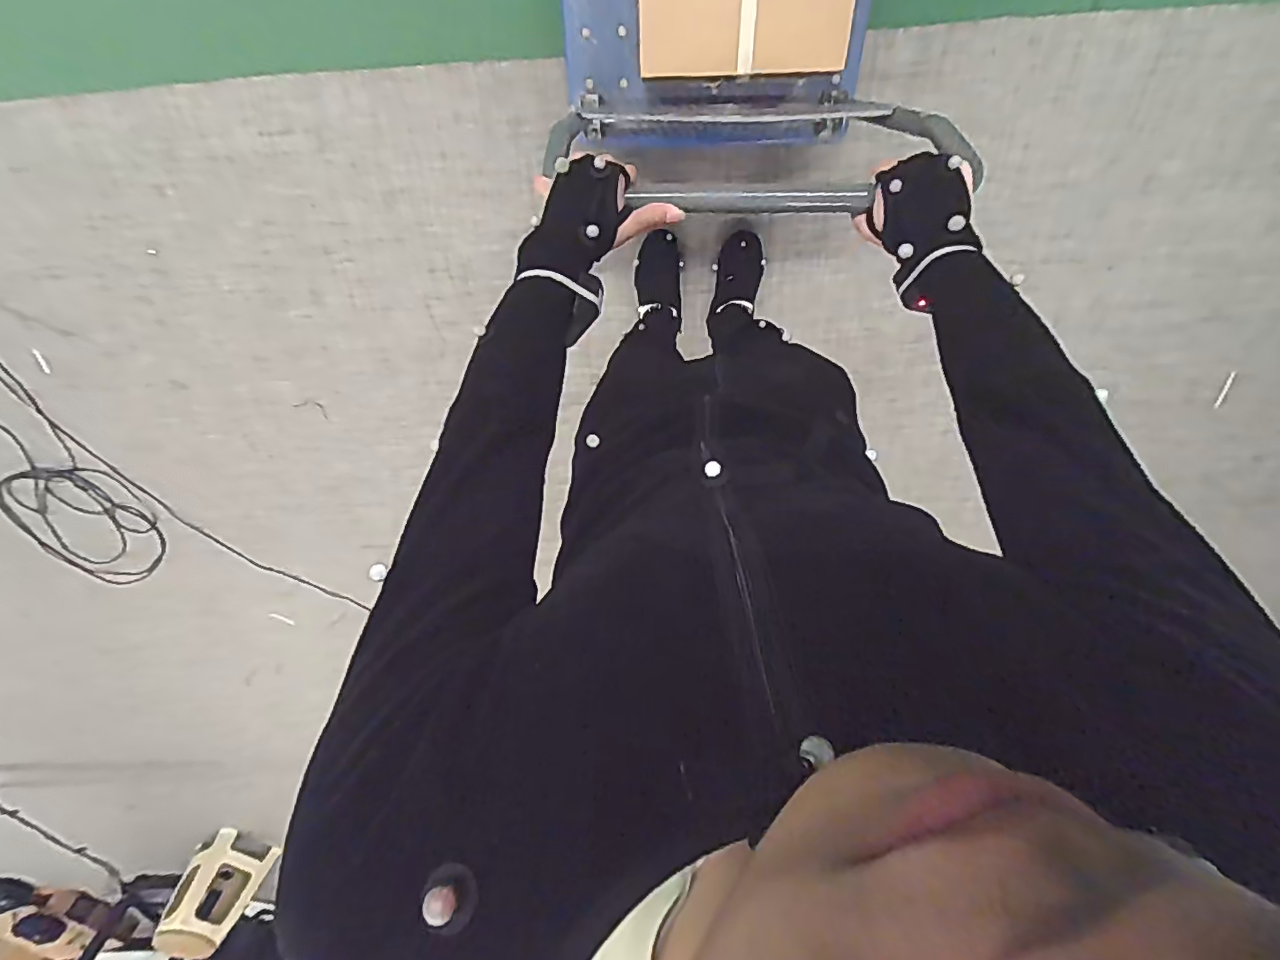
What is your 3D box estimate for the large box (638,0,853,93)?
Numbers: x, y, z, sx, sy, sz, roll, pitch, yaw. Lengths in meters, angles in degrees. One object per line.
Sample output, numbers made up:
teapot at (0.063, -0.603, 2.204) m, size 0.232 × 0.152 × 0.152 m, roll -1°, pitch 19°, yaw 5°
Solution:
large box at (0.154, -0.866, 0.848) m, size 0.320 × 0.320 × 0.408 m, roll 0°, pitch 123°, yaw 1°
